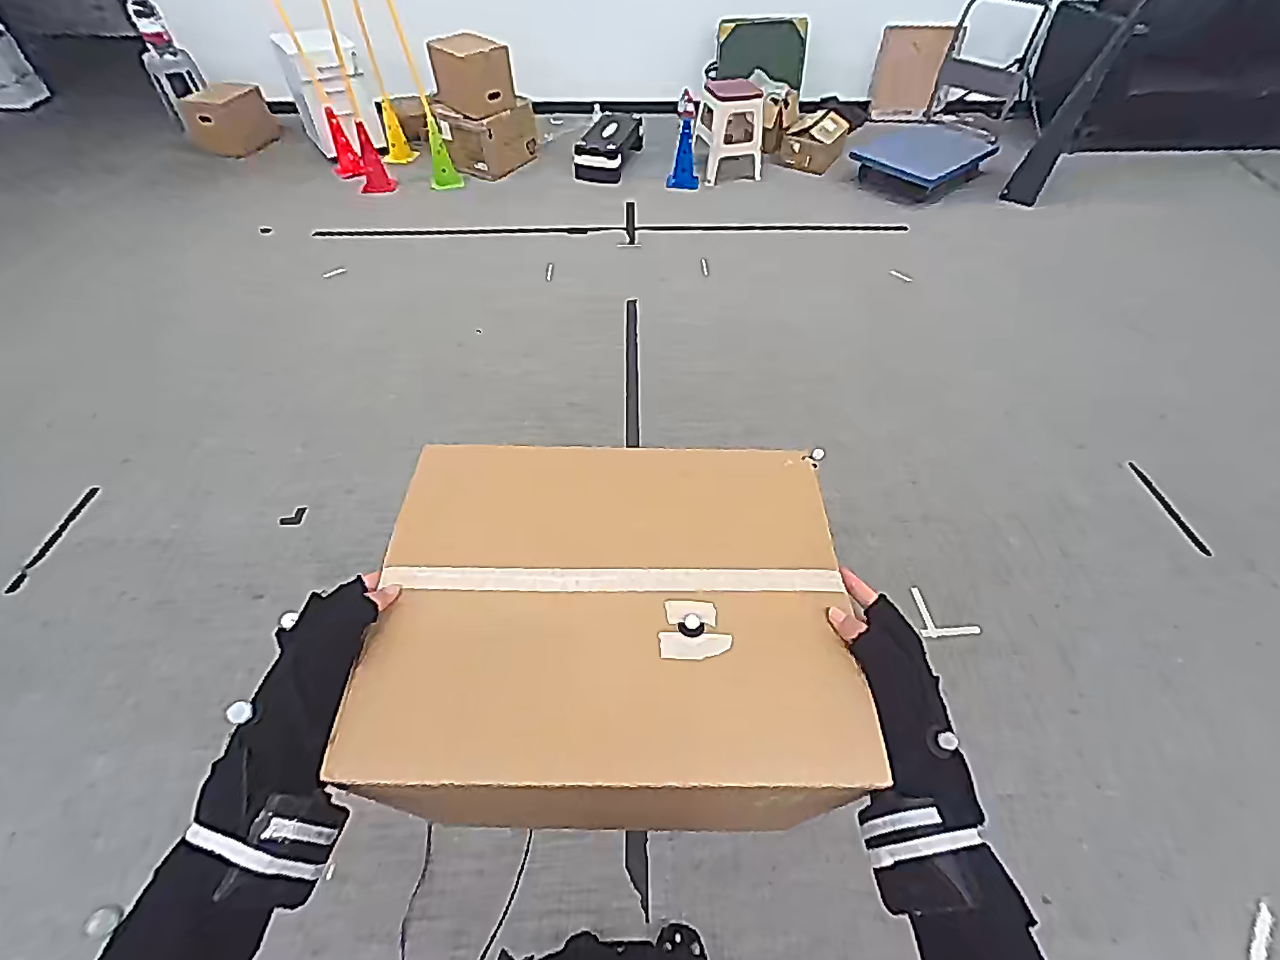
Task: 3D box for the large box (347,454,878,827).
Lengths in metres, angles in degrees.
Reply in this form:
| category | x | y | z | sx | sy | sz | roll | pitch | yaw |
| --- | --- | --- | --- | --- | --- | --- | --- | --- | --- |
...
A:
| category | x | y | z | sx | sy | sz | roll | pitch | yaw |
| --- | --- | --- | --- | --- | --- | --- | --- | --- | --- |
| large box | -0.024 | 0.185 | 0.606 | 0.408 | 0.320 | 0.320 | 1 | 52 | -1 |
